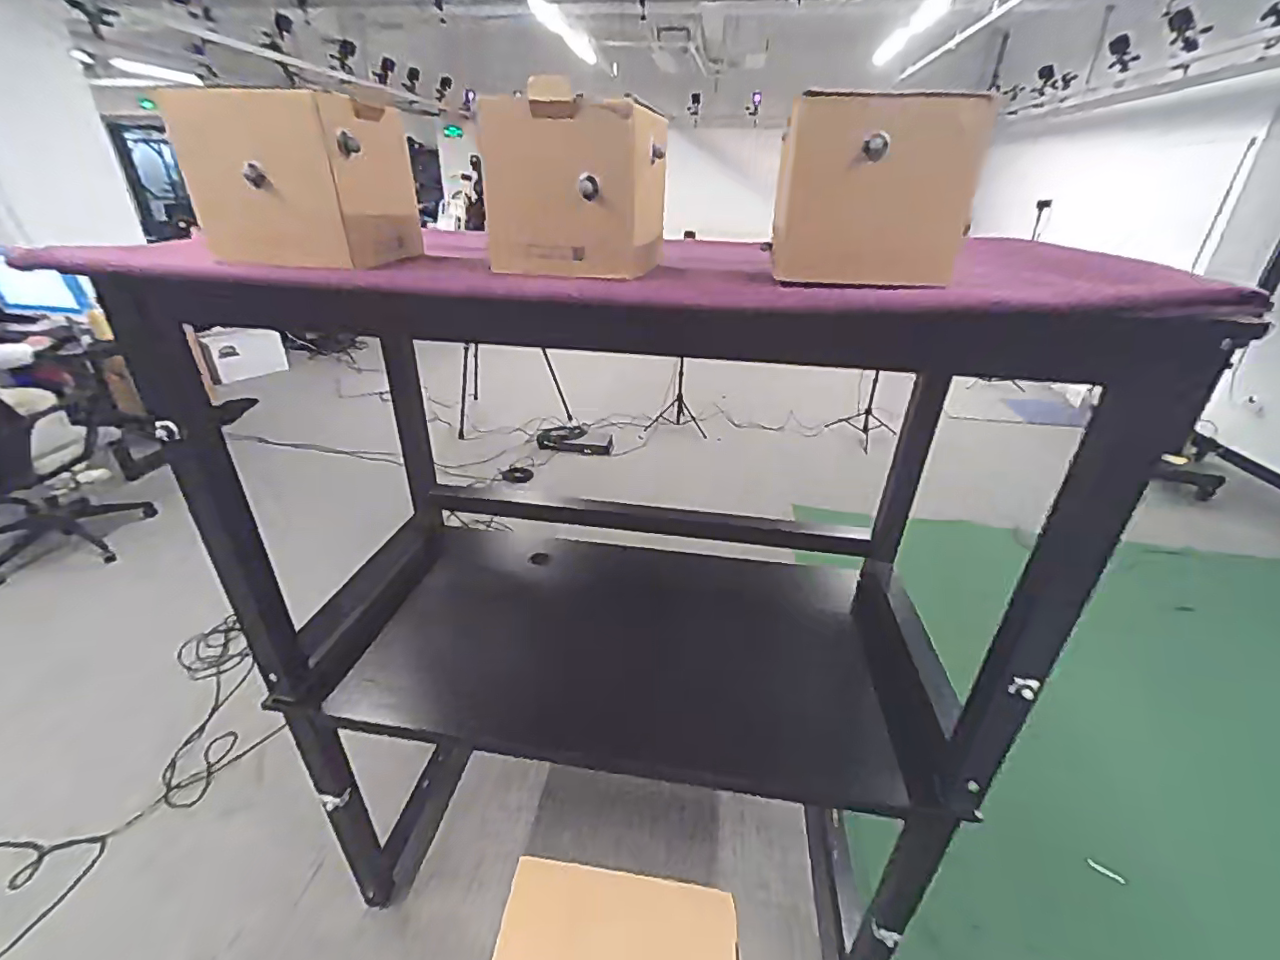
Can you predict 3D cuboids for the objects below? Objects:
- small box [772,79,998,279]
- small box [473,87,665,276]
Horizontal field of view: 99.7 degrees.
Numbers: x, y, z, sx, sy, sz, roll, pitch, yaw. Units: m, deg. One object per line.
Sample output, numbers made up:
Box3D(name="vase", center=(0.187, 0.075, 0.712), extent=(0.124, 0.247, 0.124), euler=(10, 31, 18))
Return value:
Box3D(name="small box", center=(0.242, -0.314, 0.591), extent=(0.179, 0.176, 0.168), euler=(5, 26, 7))
Box3D(name="small box", center=(-0.068, -0.334, 0.620), extent=(0.168, 0.176, 0.179), euler=(8, 28, 9))
